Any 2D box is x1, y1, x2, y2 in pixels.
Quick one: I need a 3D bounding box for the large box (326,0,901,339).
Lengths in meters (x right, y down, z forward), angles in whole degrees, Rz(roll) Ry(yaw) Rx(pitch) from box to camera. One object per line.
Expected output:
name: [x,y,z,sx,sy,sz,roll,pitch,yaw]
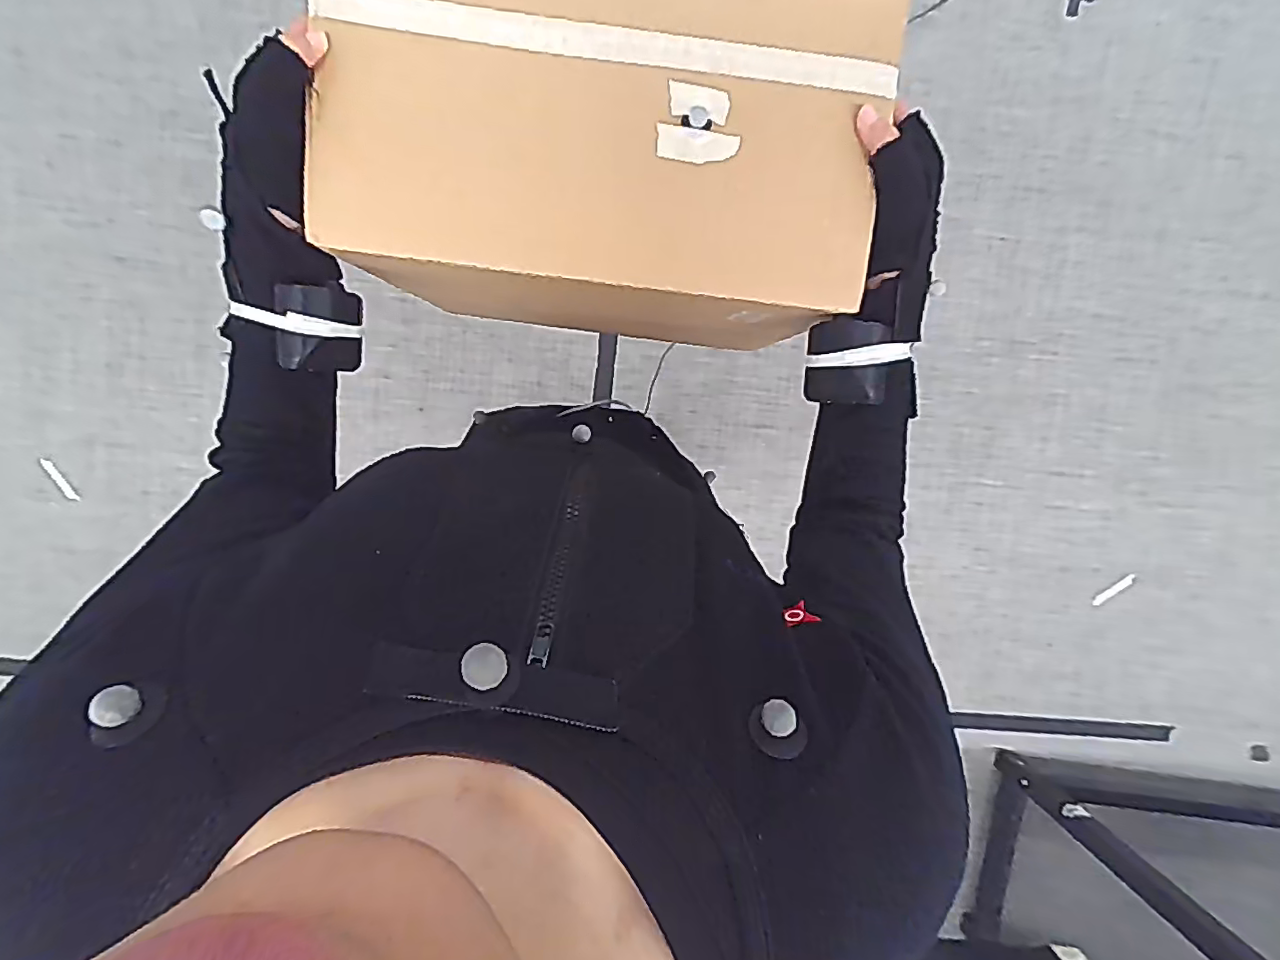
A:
large box: [-0.025,-0.329,0.531,0.408,0.320,0.320,6,99,-3]
